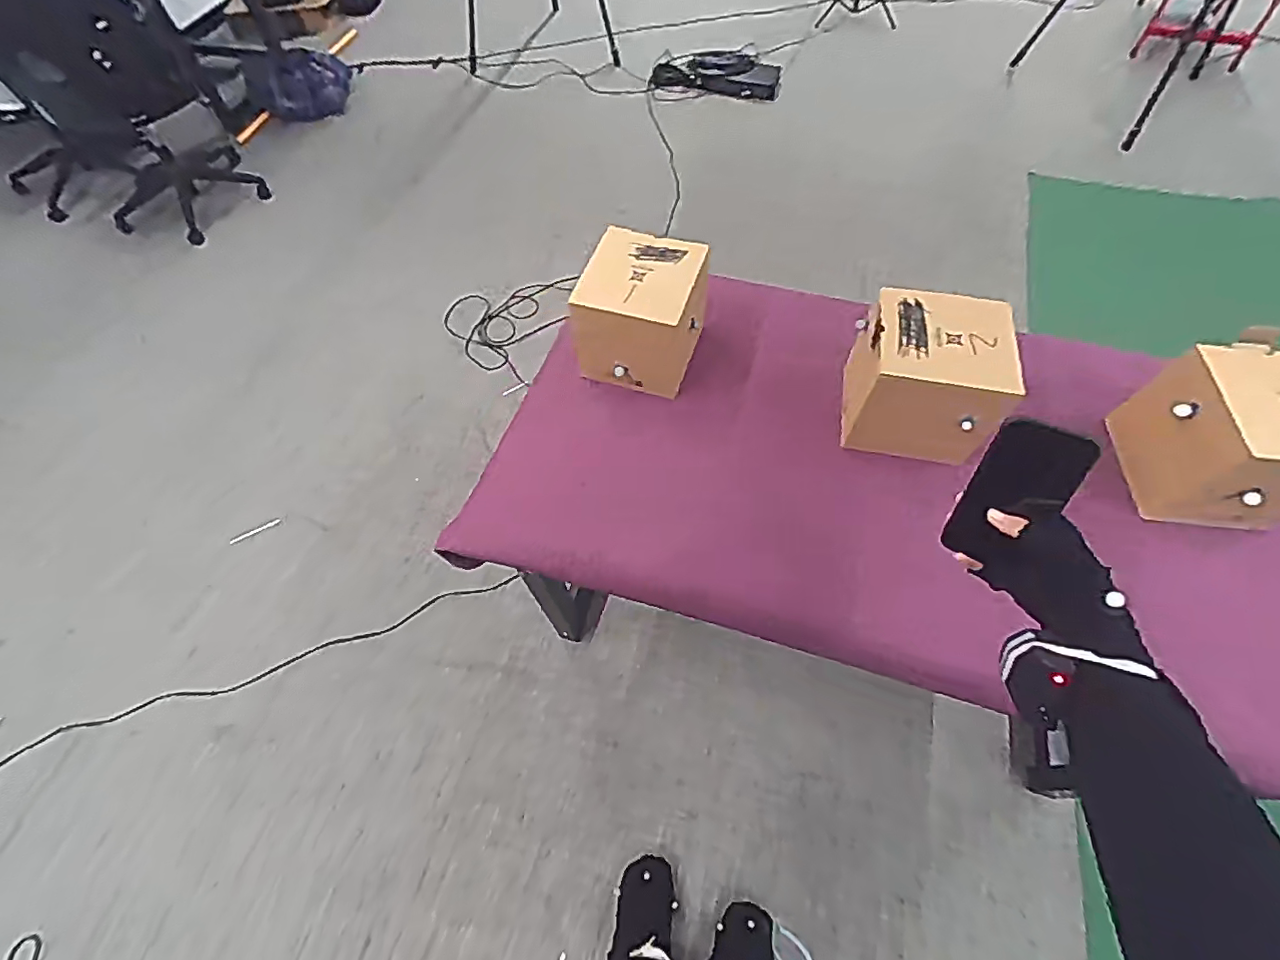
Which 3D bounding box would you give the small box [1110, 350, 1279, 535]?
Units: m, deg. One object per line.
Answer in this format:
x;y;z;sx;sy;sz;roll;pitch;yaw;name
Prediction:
0.776;-0.043;0.706;0.168;0.176;0.179;6;59;6;small box

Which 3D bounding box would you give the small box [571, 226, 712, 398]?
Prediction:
0.006;-0.262;0.857;0.168;0.176;0.179;16;63;11;small box
